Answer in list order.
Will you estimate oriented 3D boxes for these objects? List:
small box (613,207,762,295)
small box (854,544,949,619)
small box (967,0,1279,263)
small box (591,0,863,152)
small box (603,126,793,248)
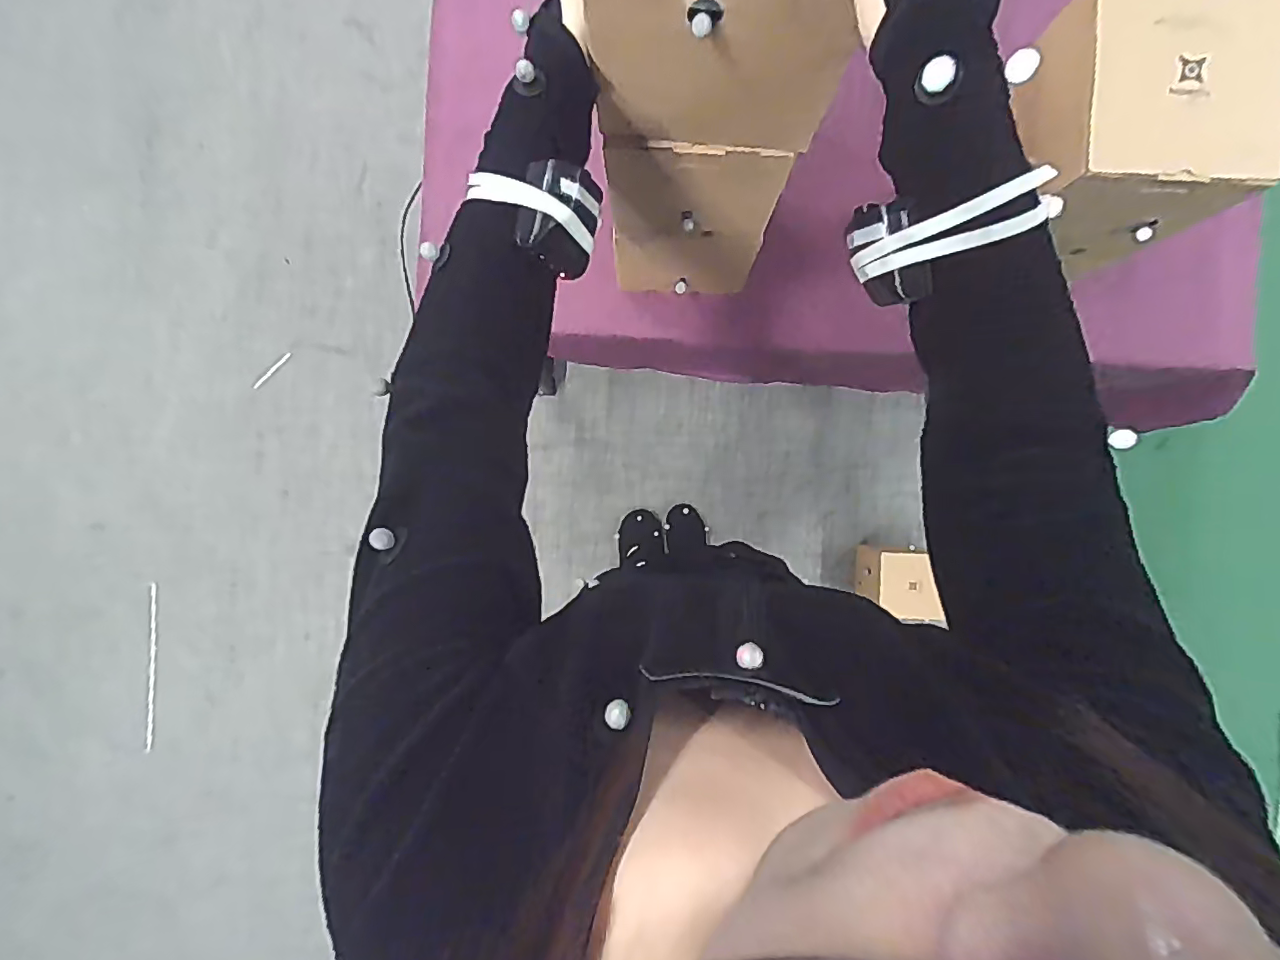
[{"bbox_3d":[0.057,-0.353,0.709,0.179,0.176,0.168,2,89,0],"label":"small box"},{"bbox_3d":[0.681,0.262,1.424,0.179,0.176,0.168,1,90,0],"label":"small box"},{"bbox_3d":[0.456,-0.334,0.538,0.168,0.176,0.179,4,89,1],"label":"small box"},{"bbox_3d":[0.058,-0.362,0.379,0.179,0.176,0.168,5,89,0],"label":"small box"},{"bbox_3d":[0.056,-0.360,0.544,0.168,0.176,0.179,4,90,1],"label":"small box"}]
